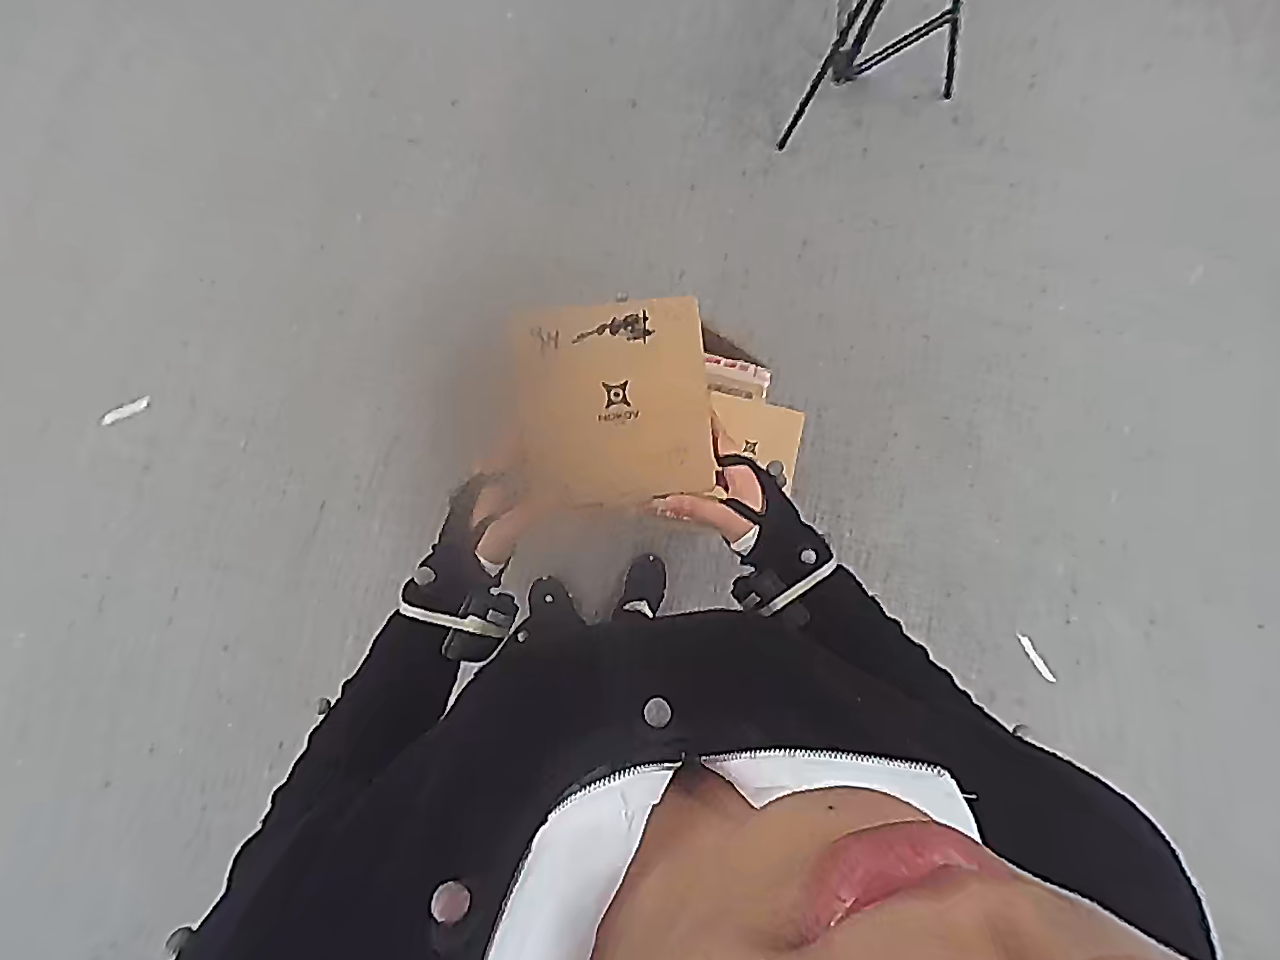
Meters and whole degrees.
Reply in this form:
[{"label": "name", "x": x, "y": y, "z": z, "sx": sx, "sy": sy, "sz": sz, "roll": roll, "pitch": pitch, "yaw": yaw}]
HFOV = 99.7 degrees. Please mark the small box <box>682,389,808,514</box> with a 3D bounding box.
[{"label": "small box", "x": 0.179, "y": -0.042, "z": 0.967, "sx": 0.168, "sy": 0.176, "sz": 0.179, "roll": 13, "pitch": 85, "yaw": -3}]
